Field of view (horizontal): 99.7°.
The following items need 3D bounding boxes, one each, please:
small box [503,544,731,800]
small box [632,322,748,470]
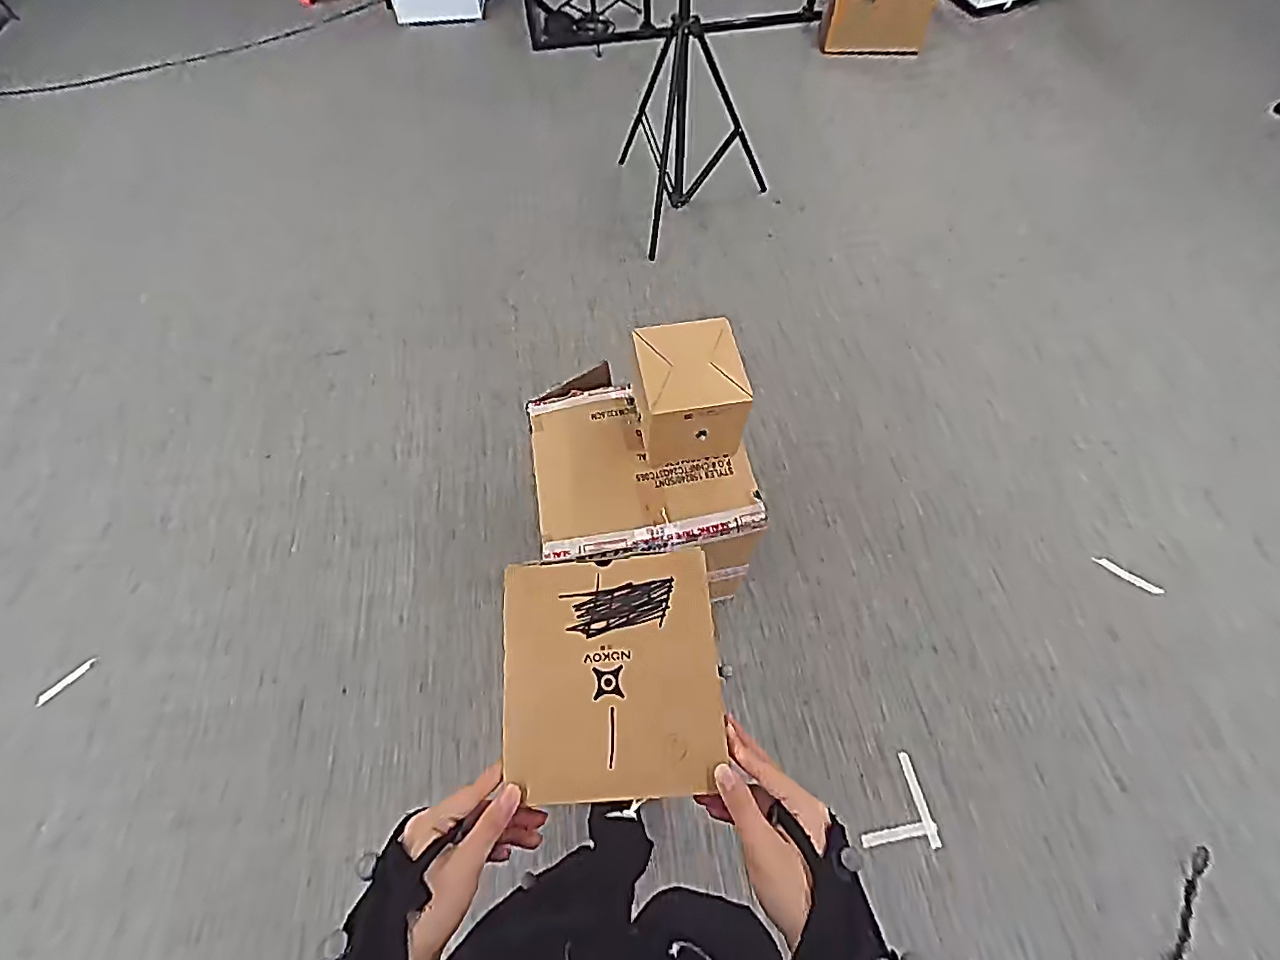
[{"bbox_3d":[-0.015,0.168,0.485,0.168,0.176,0.179,-7,70,4],"label":"small box"},{"bbox_3d":[0.079,-0.143,0.939,0.168,0.176,0.179,-9,63,-6],"label":"small box"}]
